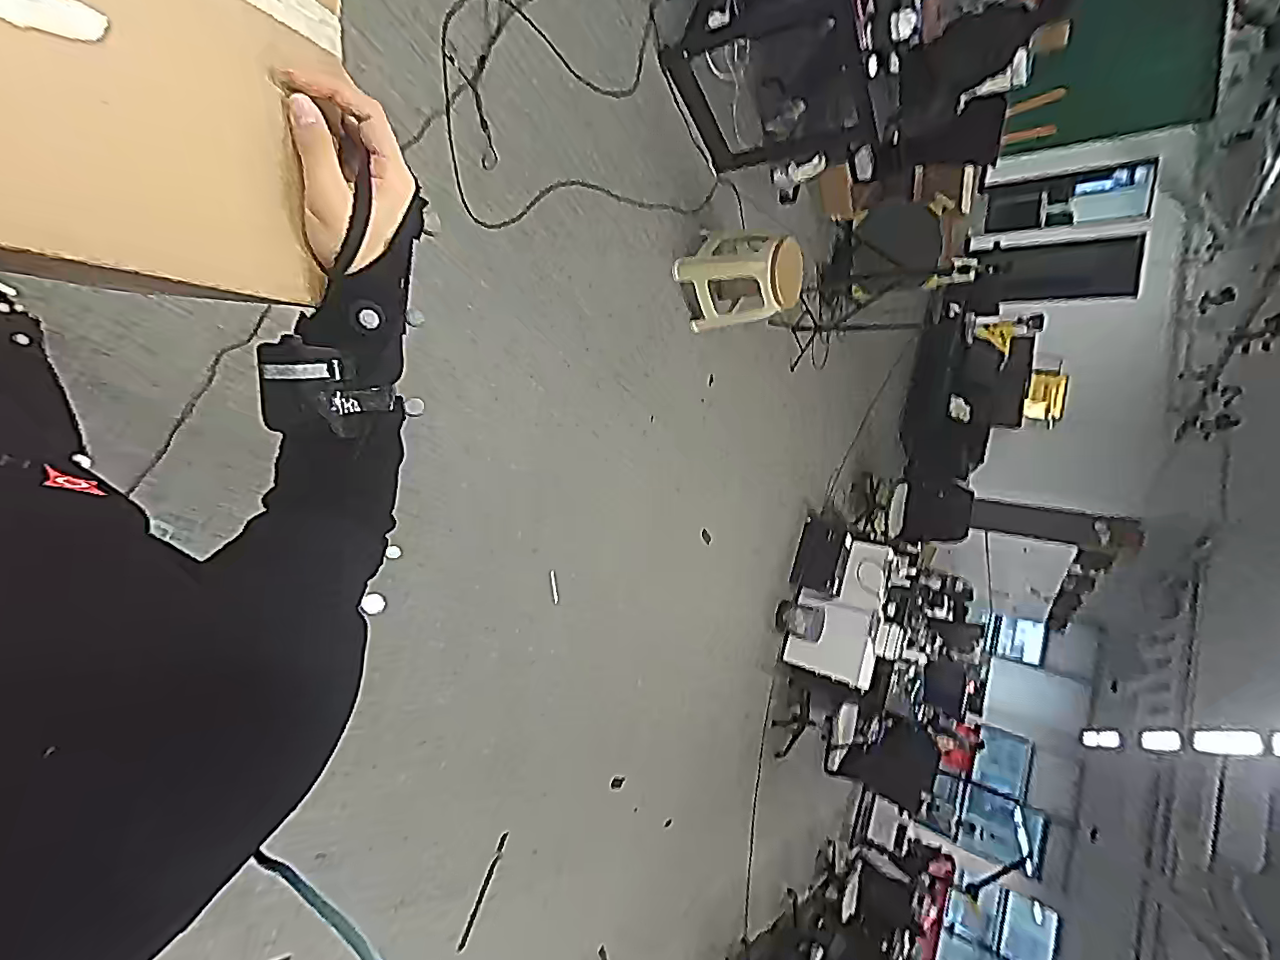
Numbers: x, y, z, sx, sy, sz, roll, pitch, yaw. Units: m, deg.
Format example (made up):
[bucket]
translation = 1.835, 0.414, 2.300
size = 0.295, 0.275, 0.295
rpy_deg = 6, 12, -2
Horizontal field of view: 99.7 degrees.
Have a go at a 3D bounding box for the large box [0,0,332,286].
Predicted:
[large box]
translation = -0.420, -0.287, 0.236
size = 0.408, 0.320, 0.320
rpy_deg = -9, 111, -59
